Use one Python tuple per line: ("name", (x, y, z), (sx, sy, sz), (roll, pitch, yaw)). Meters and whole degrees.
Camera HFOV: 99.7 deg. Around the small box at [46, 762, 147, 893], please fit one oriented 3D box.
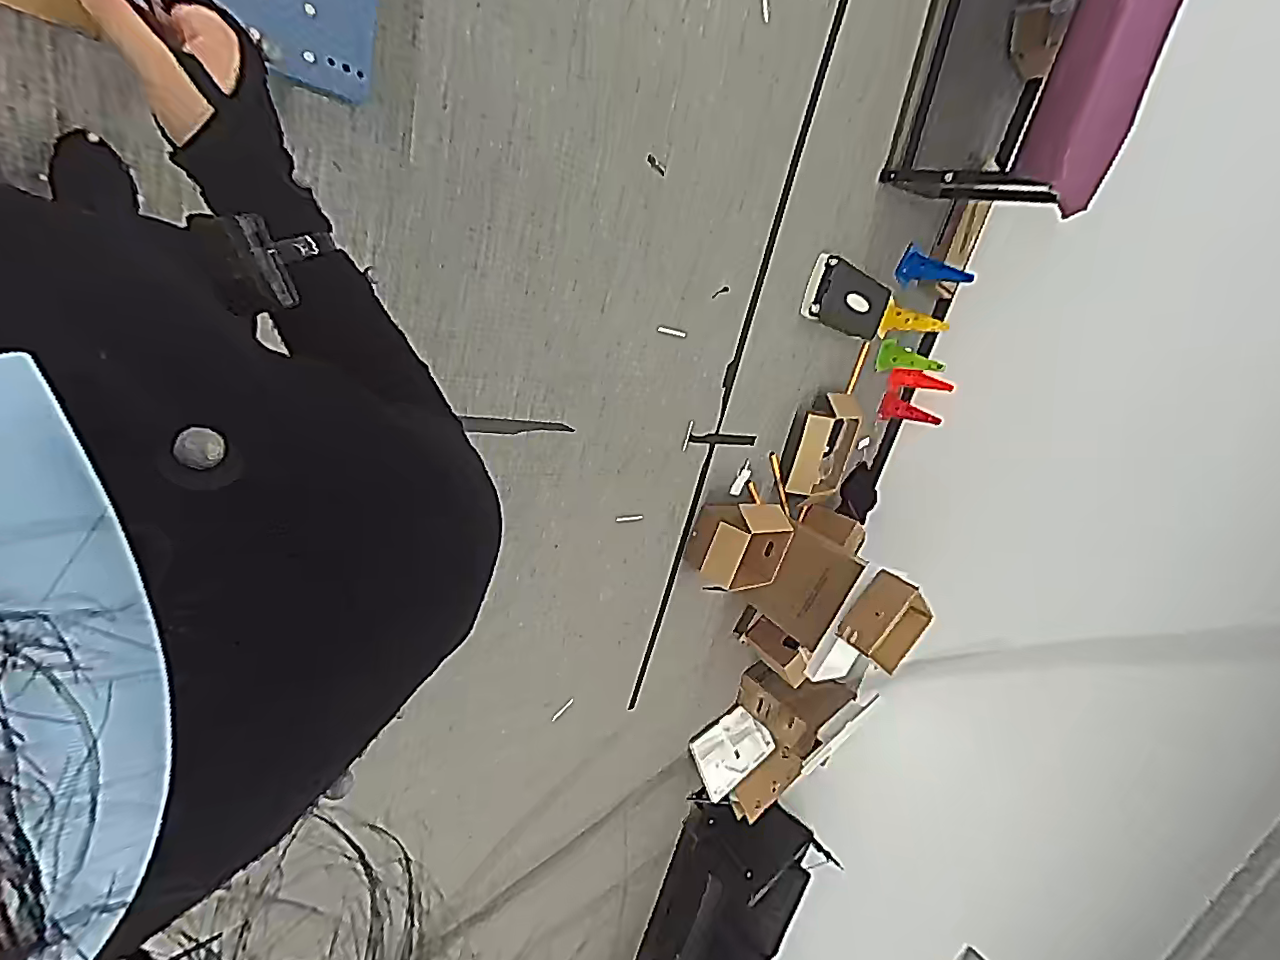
("small box", (-1.330, 0.845, 1.332), (0.168, 0.176, 0.179), (-5, 116, -44))
